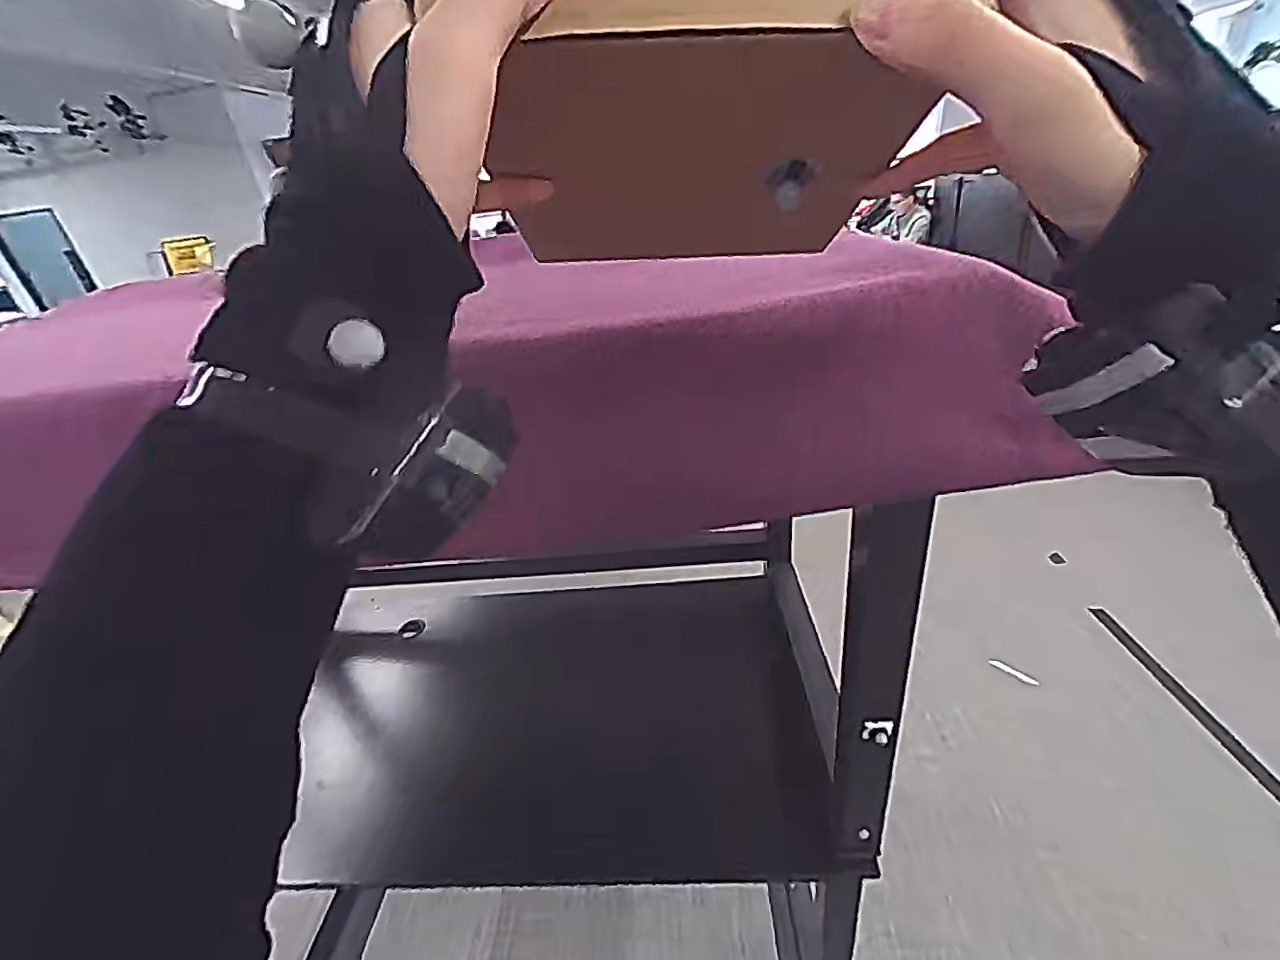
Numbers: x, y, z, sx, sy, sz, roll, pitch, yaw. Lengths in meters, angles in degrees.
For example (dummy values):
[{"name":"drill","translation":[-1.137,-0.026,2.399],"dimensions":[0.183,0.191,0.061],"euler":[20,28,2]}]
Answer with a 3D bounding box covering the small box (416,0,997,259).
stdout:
[{"name":"small box","translation":[0.020,-0.213,0.242],"dimensions":[0.179,0.168,0.176],"euler":[-1,-1,2]}]
